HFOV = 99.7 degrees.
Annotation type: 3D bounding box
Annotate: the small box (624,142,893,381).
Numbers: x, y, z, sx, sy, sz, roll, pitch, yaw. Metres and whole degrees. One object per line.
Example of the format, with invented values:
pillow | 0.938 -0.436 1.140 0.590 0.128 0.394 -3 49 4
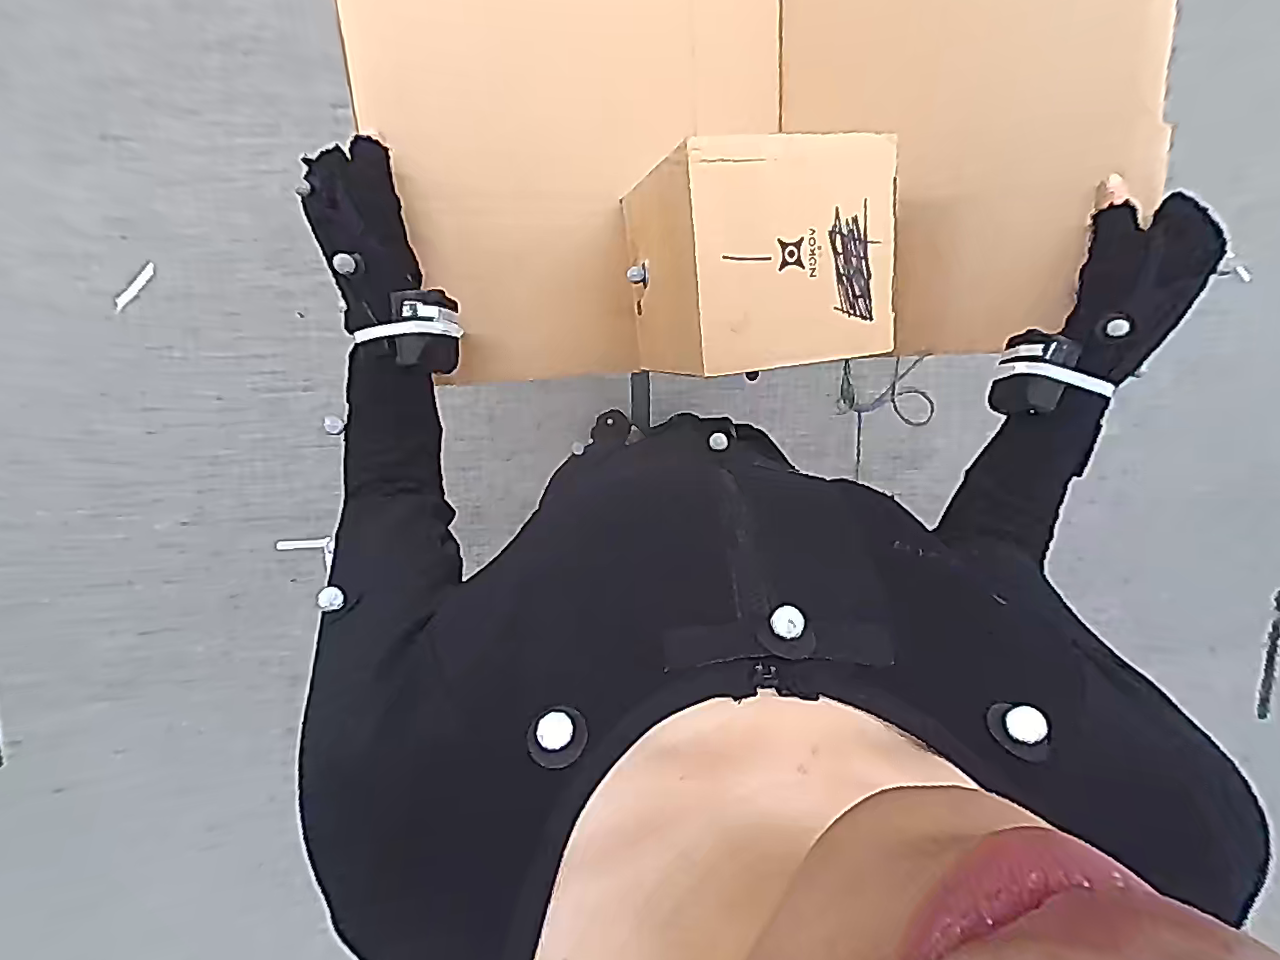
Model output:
small box | 0.097 -0.187 0.490 0.179 0.176 0.168 -10 106 -14
